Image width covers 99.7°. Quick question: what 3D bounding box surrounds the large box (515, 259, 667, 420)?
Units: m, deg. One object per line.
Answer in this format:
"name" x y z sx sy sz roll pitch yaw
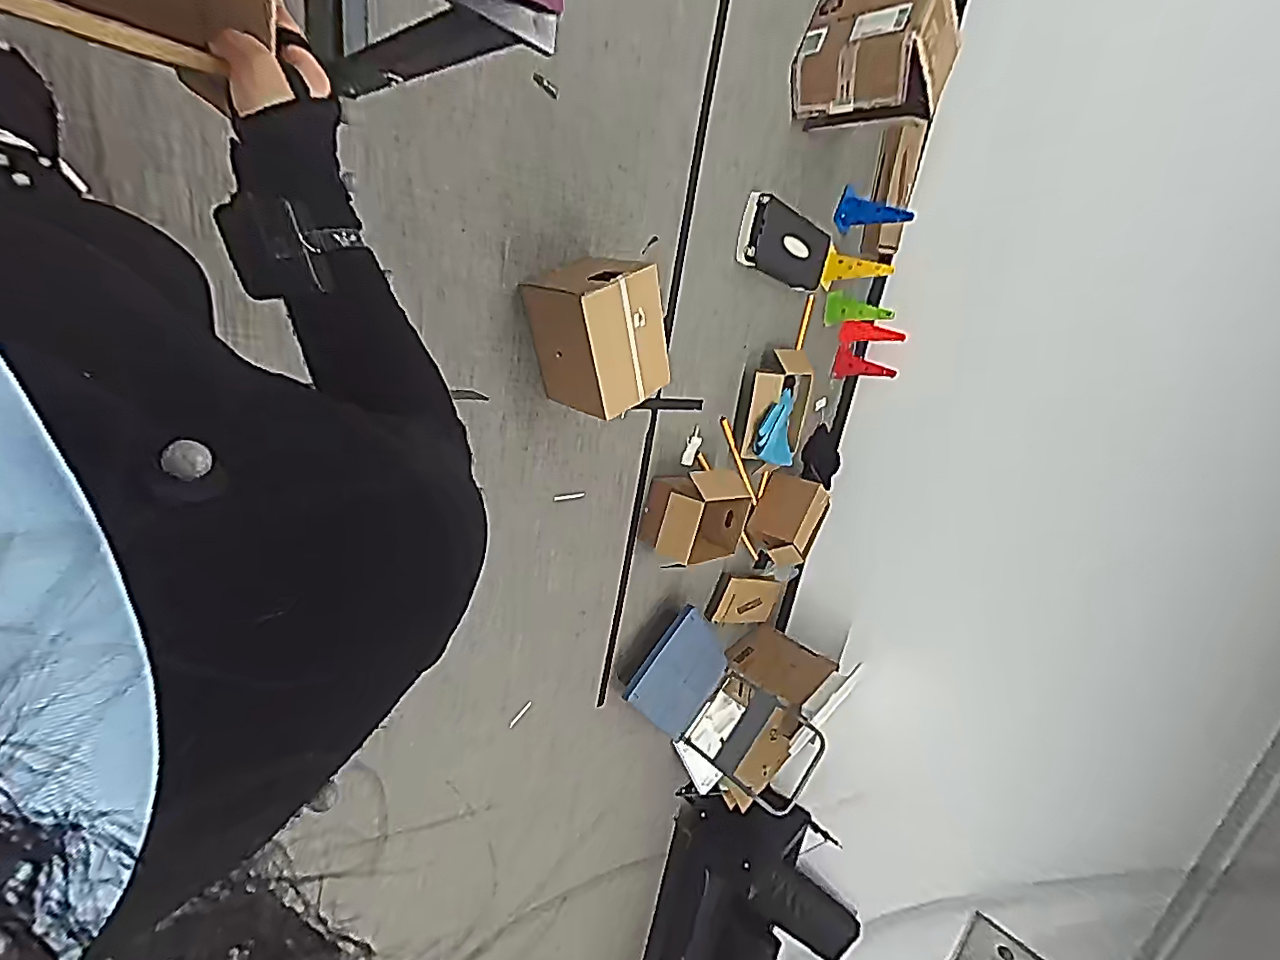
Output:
"large box" -0.150 -0.465 1.763 0.320 0.320 0.408 -38 133 -32
